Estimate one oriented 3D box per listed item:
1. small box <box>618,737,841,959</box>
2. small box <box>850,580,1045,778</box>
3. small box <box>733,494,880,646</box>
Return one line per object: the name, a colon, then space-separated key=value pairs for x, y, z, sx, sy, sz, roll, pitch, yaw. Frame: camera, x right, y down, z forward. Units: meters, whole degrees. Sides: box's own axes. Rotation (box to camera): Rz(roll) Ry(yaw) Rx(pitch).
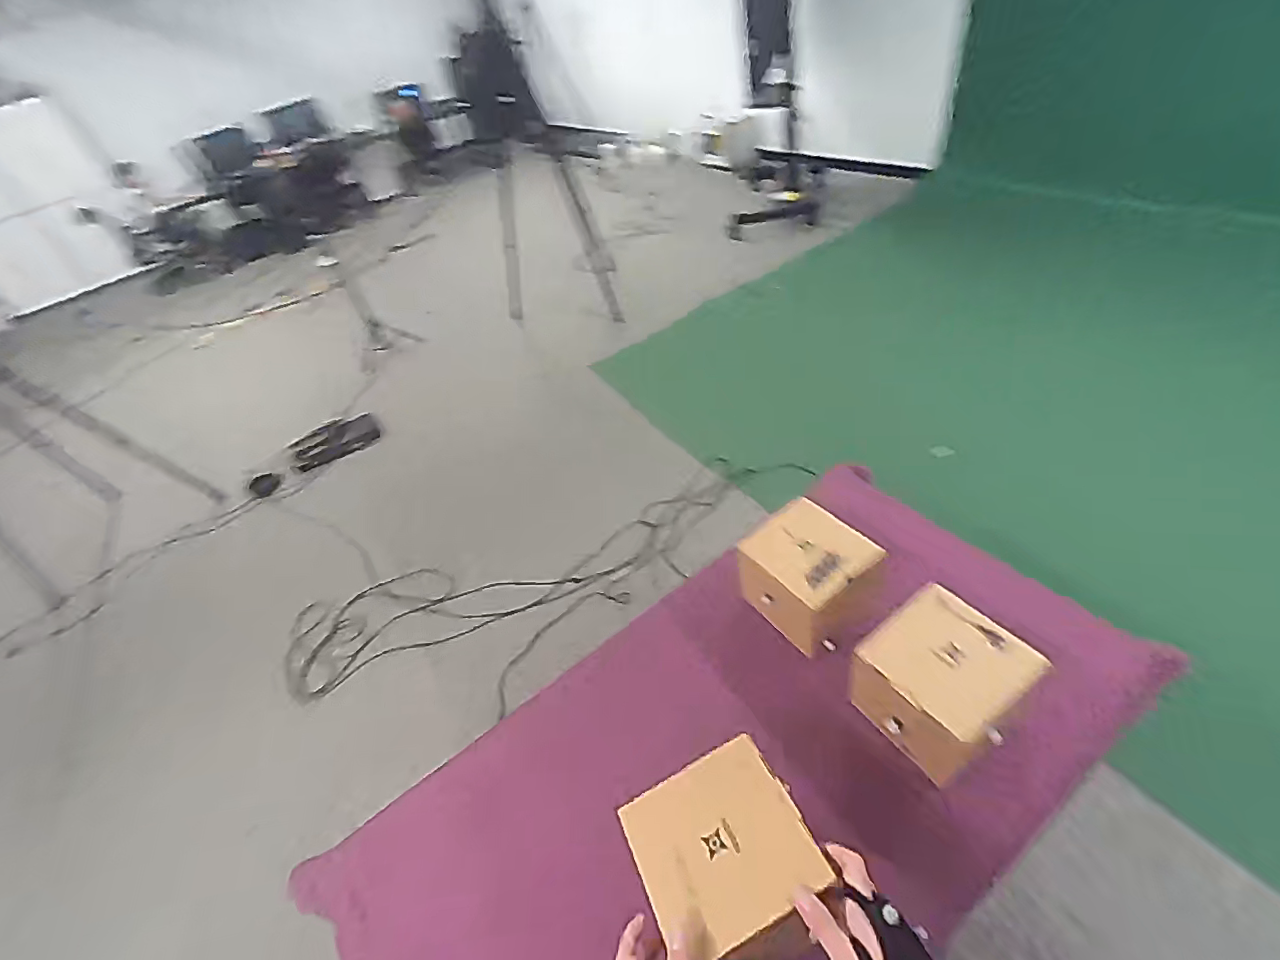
small box: x=0.102 y=0.431 z=0.598 sx=0.179 sy=0.176 sz=0.168 roll=-27 pitch=37 yaw=-6
small box: x=0.427 y=0.287 z=0.776 sx=0.179 sy=0.176 sz=0.168 roll=-33 pitch=45 yaw=-15
small box: x=0.288 y=0.164 z=0.946 sx=0.168 sy=0.176 sz=0.179 roll=-33 pitch=45 yaw=-17
